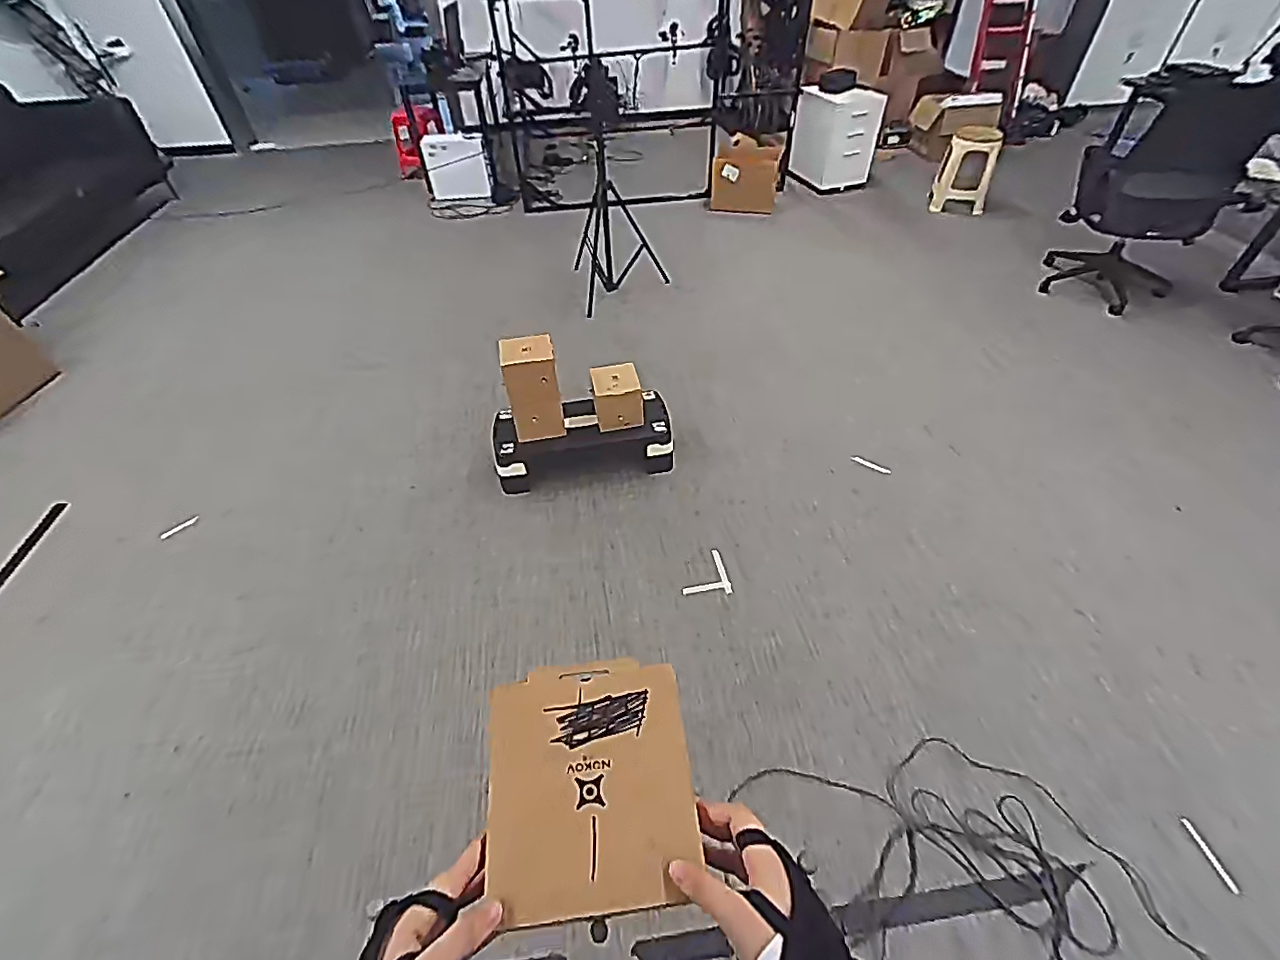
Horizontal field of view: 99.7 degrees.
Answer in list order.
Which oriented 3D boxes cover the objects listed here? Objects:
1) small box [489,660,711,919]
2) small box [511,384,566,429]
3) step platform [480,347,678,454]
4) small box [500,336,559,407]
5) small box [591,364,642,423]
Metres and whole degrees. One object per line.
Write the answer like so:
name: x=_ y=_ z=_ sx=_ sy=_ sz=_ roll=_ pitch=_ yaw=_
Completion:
small box: x=-0.038 y=0.292 z=0.508 sx=0.168 sy=0.176 sz=0.179 roll=-5 pitch=52 yaw=-5
small box: x=-0.373 y=-0.262 z=1.987 sx=0.179 sy=0.176 sz=0.168 roll=-10 pitch=47 yaw=-7
step platform: x=-0.211 y=-0.285 z=1.953 sx=0.684 sy=0.204 sz=0.286 roll=-8 pitch=46 yaw=-6
small box: x=-0.378 y=-0.375 z=1.869 sx=0.179 sy=0.176 sz=0.168 roll=-10 pitch=45 yaw=-8
small box: x=-0.088 y=-0.307 z=2.016 sx=0.168 sy=0.176 sz=0.179 roll=-10 pitch=47 yaw=-6
